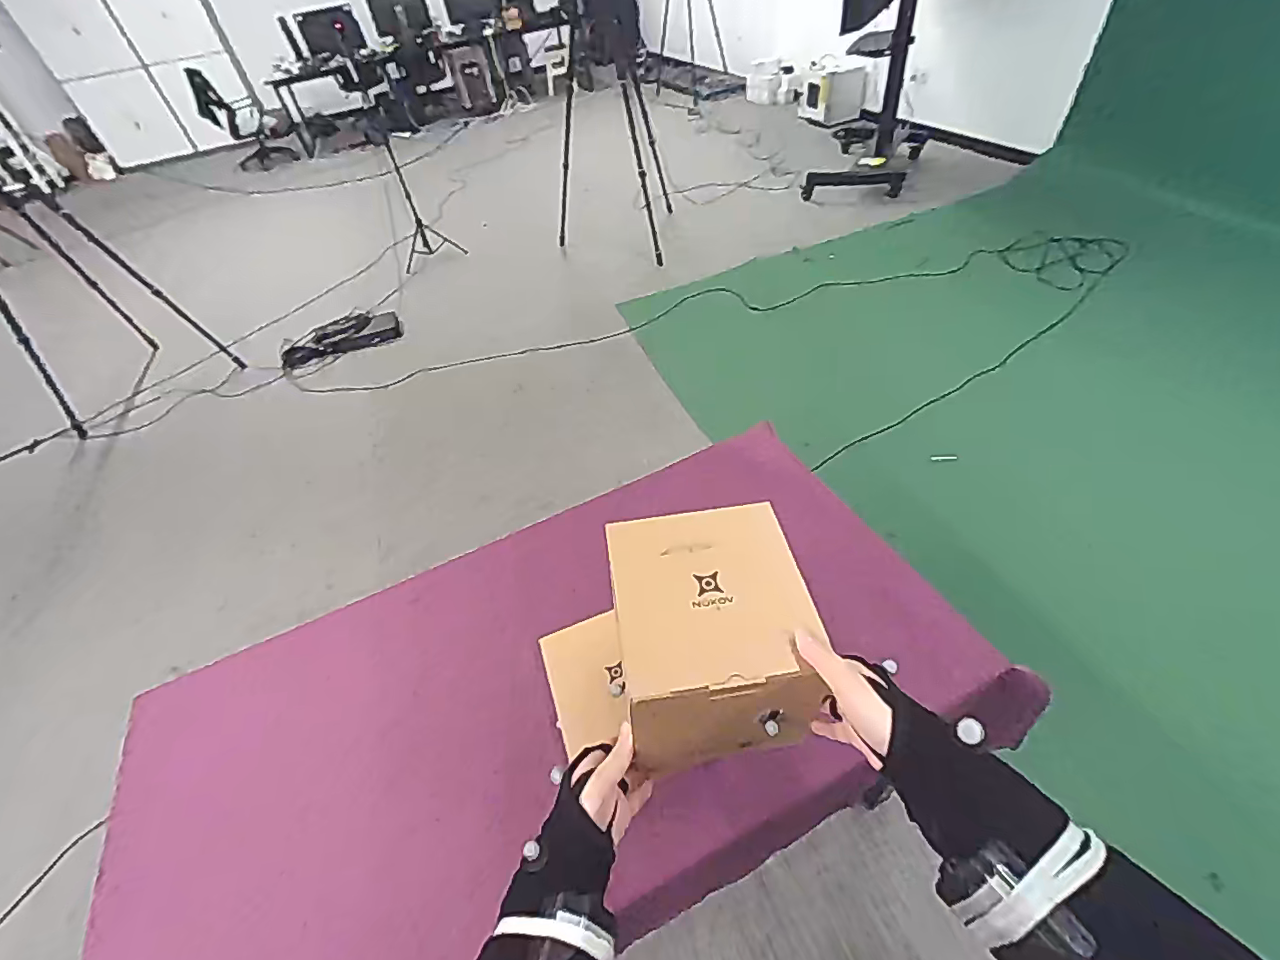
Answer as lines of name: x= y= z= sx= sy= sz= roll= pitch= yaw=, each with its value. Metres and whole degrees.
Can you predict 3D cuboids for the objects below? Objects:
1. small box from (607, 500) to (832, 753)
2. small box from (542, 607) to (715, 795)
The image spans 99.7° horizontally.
small box: x=0.064 y=0.147 z=0.526 sx=0.168 sy=0.176 sz=0.179 roll=-8 pitch=46 yaw=-4
small box: x=-0.008 y=0.280 z=0.705 sx=0.179 sy=0.176 sz=0.168 roll=-20 pitch=47 yaw=-8
